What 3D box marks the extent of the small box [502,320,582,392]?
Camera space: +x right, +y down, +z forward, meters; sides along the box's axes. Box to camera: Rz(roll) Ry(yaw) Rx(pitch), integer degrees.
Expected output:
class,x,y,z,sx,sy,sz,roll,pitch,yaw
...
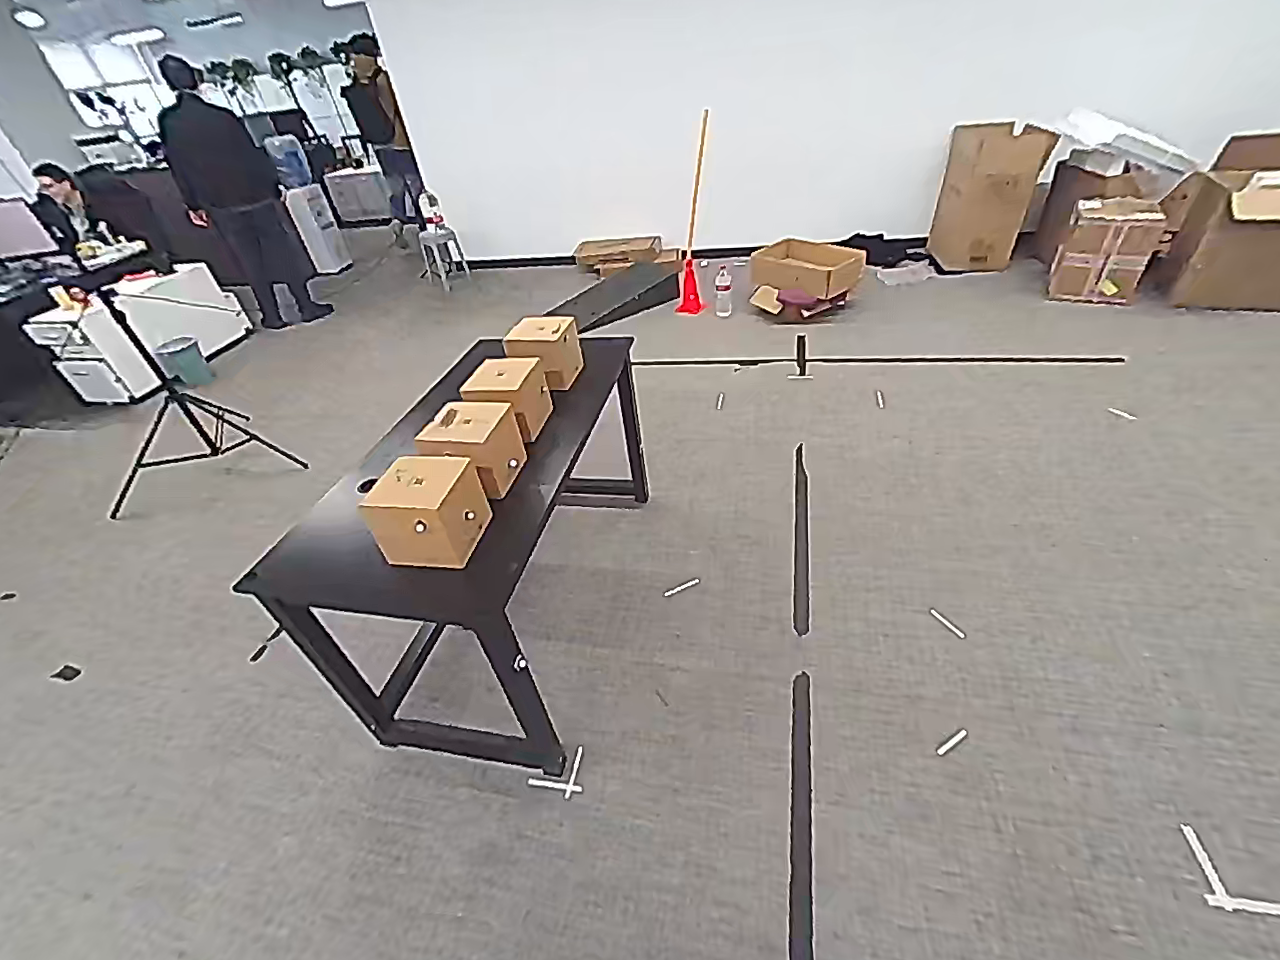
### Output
class,x,y,z,sx,sy,sz,roll,pitch,yaw
small box,-0.299,-0.386,1.689,0.179,0.176,0.168,3,41,15

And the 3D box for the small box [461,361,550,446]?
class,x,y,z,sx,sy,sz,roll,pitch,yaw
small box,-0.360,-0.211,1.489,0.168,0.176,0.179,1,41,13
